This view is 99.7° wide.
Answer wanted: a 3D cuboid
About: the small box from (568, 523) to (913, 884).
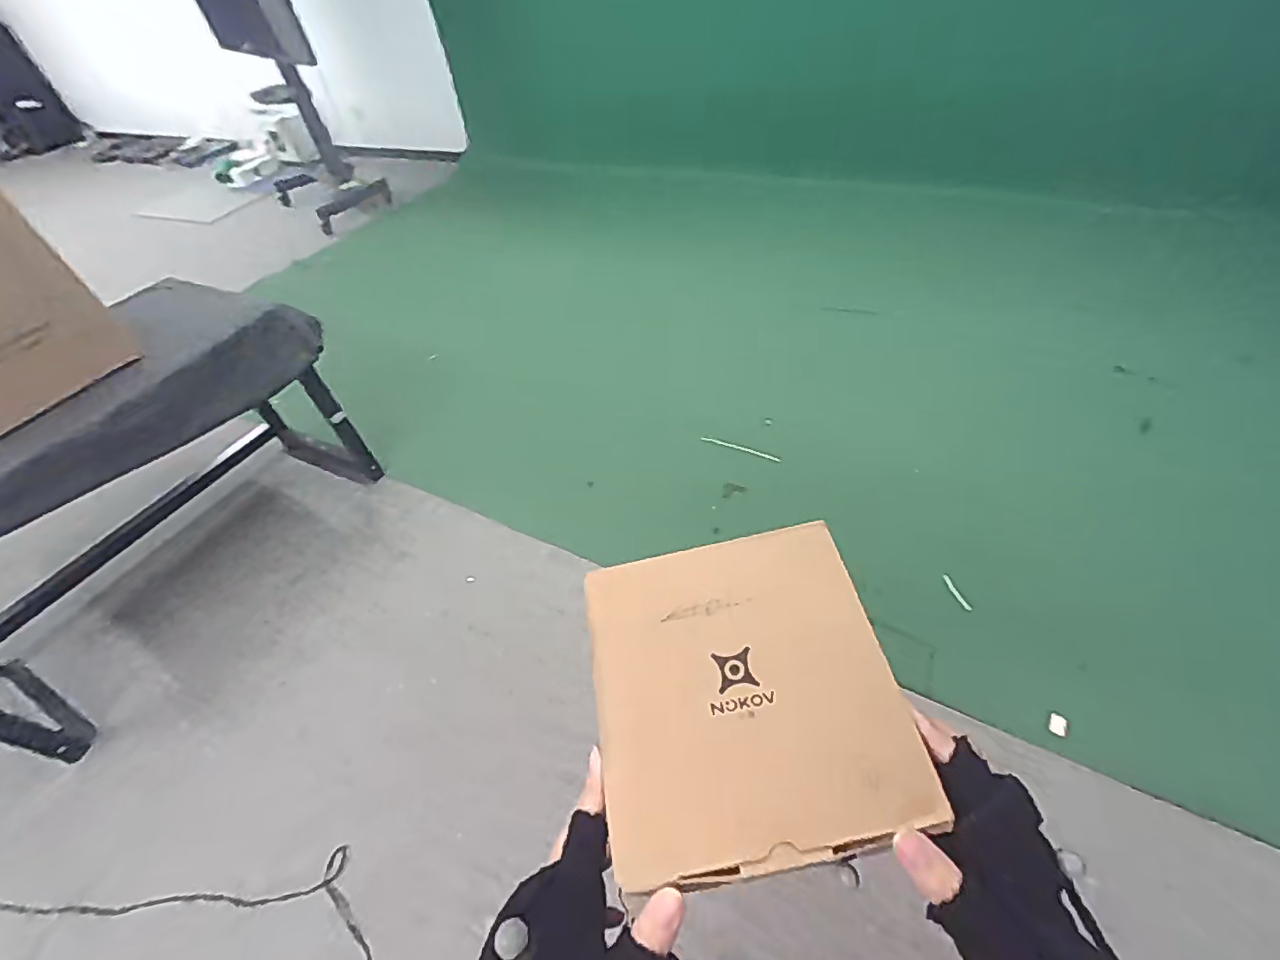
[{"bbox_3d":[0.054,0.160,0.374,0.168,0.176,0.179,-12,50,1],"label":"small box"}]
